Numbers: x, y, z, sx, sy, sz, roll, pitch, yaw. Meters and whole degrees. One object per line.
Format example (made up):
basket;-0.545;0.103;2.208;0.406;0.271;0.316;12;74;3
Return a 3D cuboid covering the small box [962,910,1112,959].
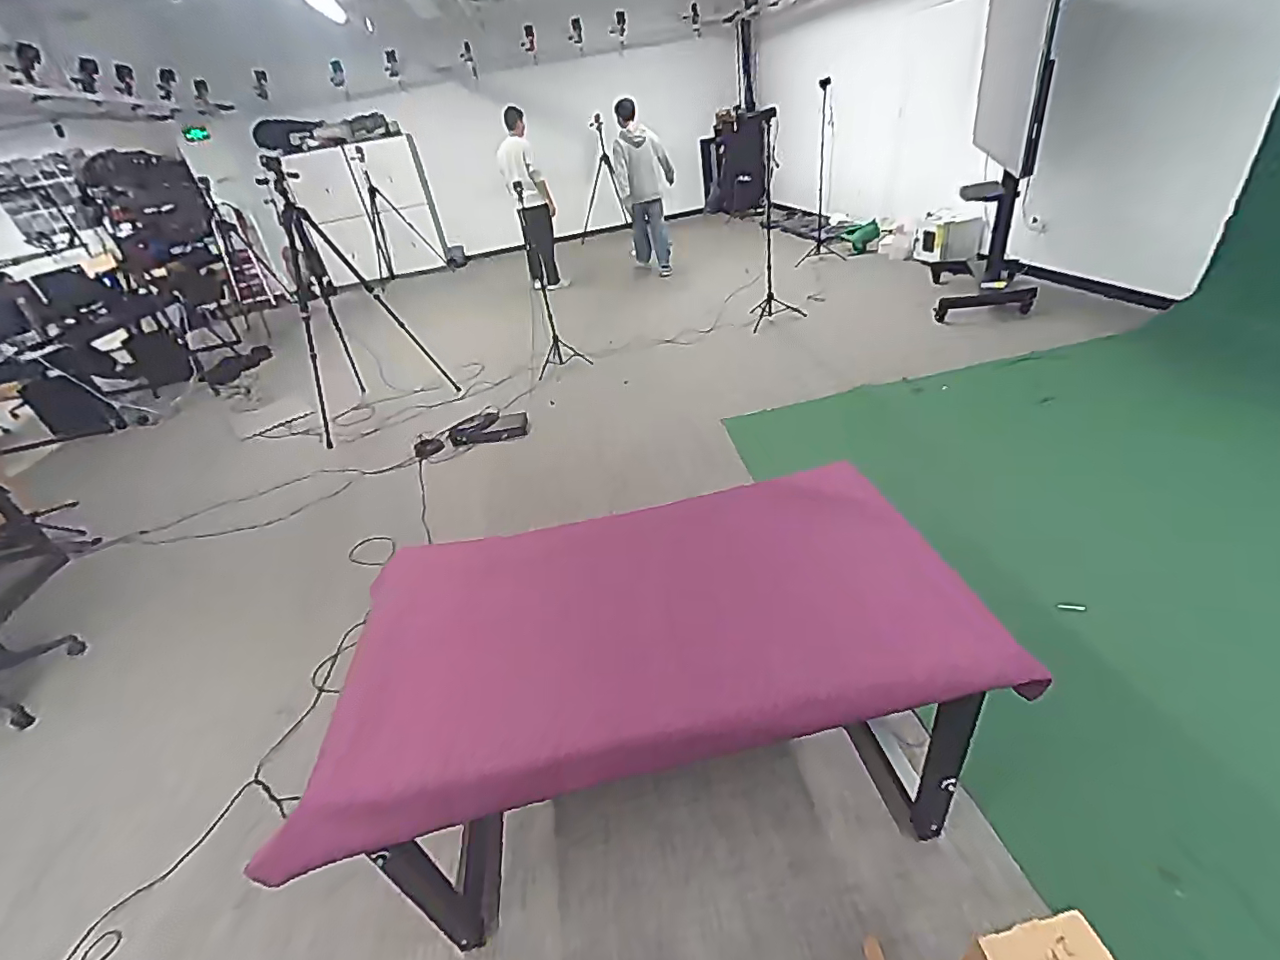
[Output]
small box;0.597;0.769;0.776;0.168;0.176;0.179;-12;35;-5
